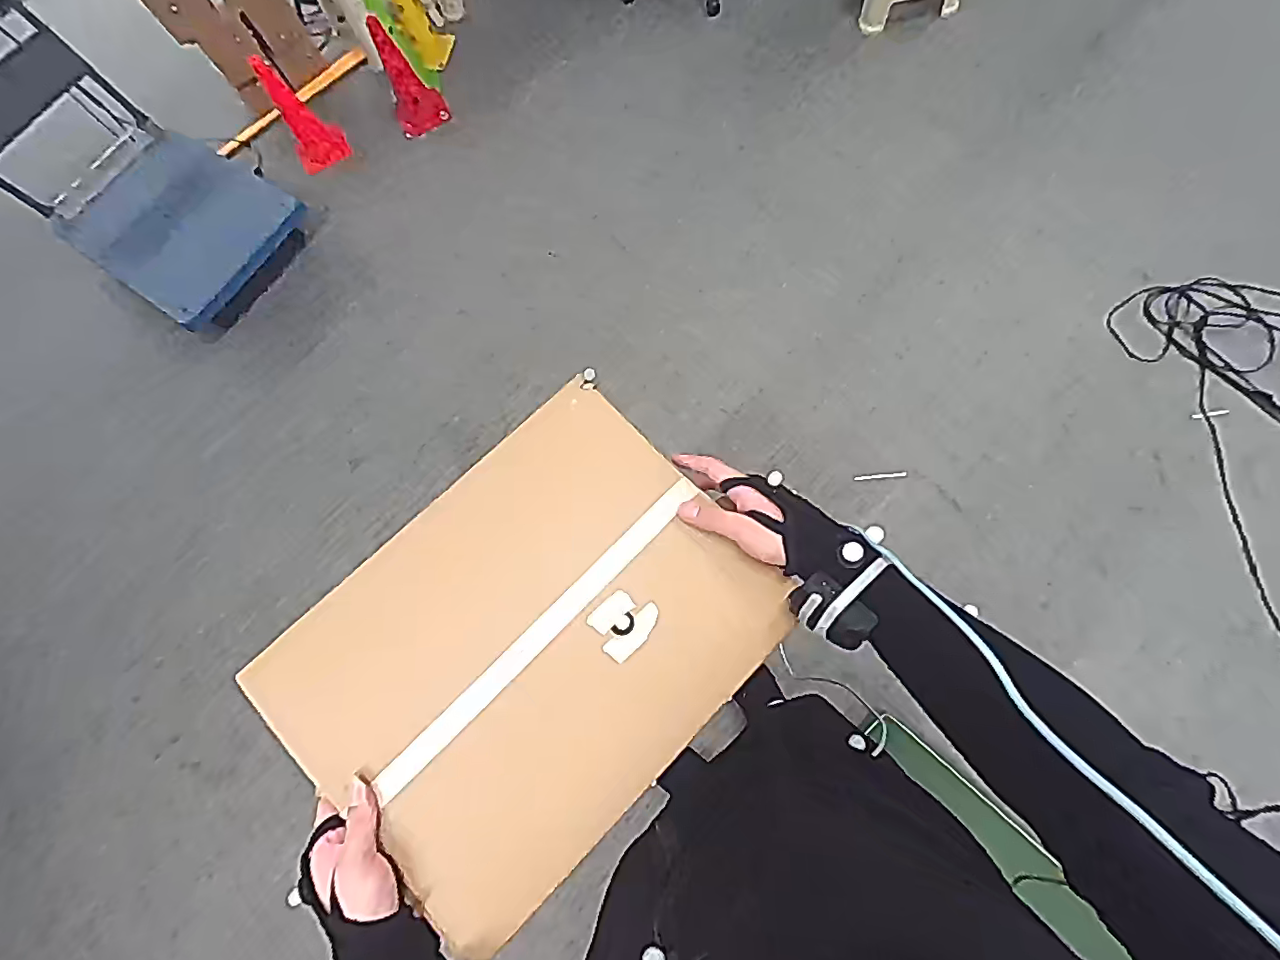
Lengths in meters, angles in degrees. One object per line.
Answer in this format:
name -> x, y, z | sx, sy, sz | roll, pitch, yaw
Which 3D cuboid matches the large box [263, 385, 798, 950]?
large box -> -0.098, 0.177, 0.636 | 0.320, 0.320, 0.408 | 44, 79, 8
